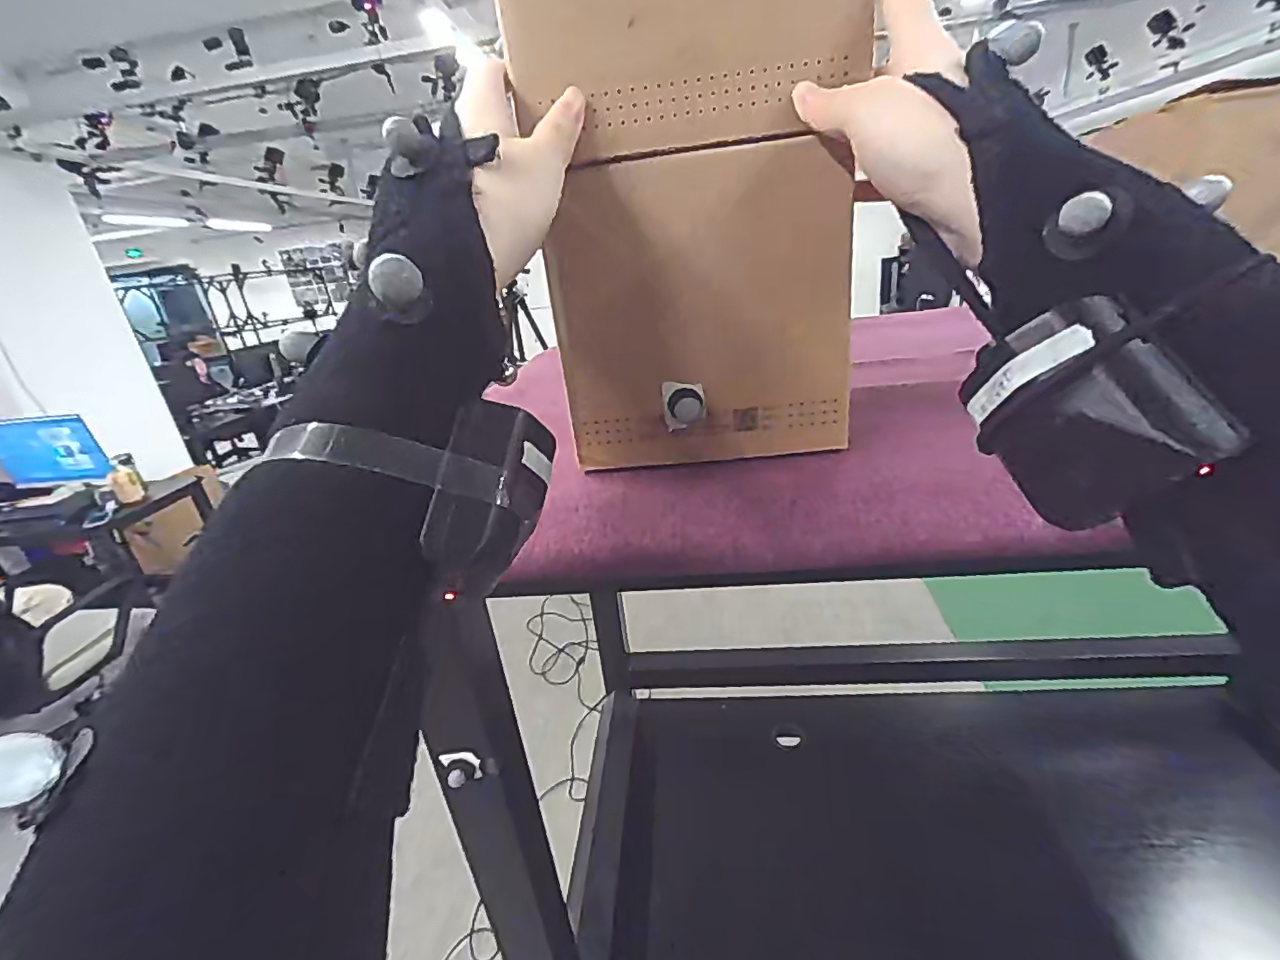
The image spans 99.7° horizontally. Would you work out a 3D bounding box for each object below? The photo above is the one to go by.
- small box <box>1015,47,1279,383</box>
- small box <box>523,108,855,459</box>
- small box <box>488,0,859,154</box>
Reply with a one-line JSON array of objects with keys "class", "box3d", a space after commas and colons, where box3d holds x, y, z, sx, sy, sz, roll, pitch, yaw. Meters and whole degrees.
[{"class": "small box", "box3d": [0.381, -0.164, 0.358, 0.179, 0.176, 0.168, -4, 21, 8]}, {"class": "small box", "box3d": [0.033, -0.123, 0.369, 0.168, 0.176, 0.179, -7, 22, 4]}, {"class": "small box", "box3d": [0.010, -0.274, 0.306, 0.179, 0.176, 0.168, -8, 22, 1]}]
